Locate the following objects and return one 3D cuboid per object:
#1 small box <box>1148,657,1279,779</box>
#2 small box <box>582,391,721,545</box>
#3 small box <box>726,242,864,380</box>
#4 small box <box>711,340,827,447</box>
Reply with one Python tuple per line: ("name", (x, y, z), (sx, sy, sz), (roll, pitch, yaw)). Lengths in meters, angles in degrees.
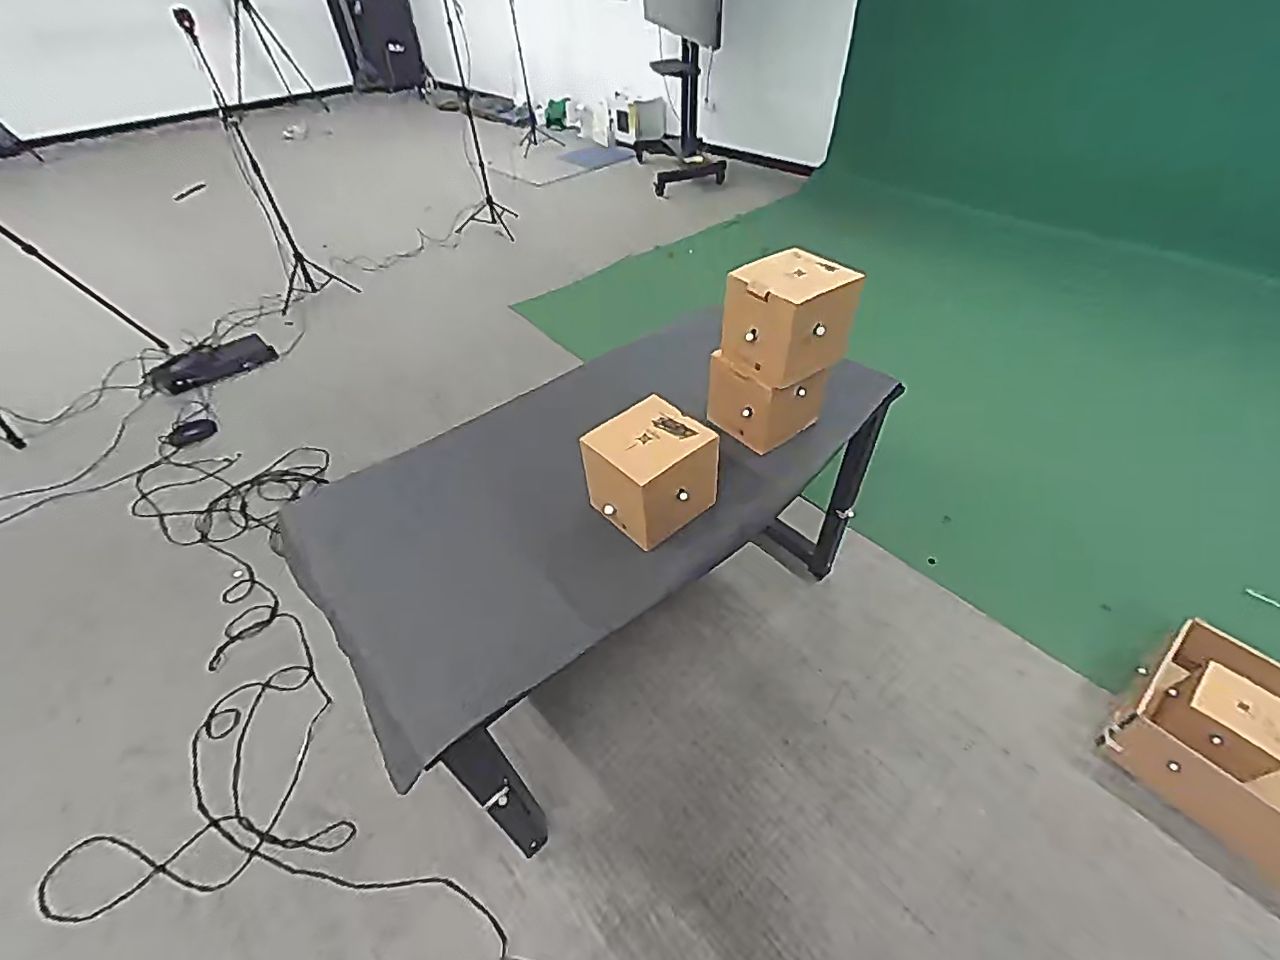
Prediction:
("small box", (1.362, 0.560, 1.267), (0.168, 0.176, 0.179), (-33, 54, -25))
("small box", (0.020, -0.022, 0.951), (0.179, 0.176, 0.168), (-34, 51, -25))
("small box", (0.275, -0.309, 0.994), (0.179, 0.176, 0.168), (-28, 50, -22))
("small box", (0.261, -0.197, 1.114), (0.179, 0.176, 0.168), (-30, 51, -25))
